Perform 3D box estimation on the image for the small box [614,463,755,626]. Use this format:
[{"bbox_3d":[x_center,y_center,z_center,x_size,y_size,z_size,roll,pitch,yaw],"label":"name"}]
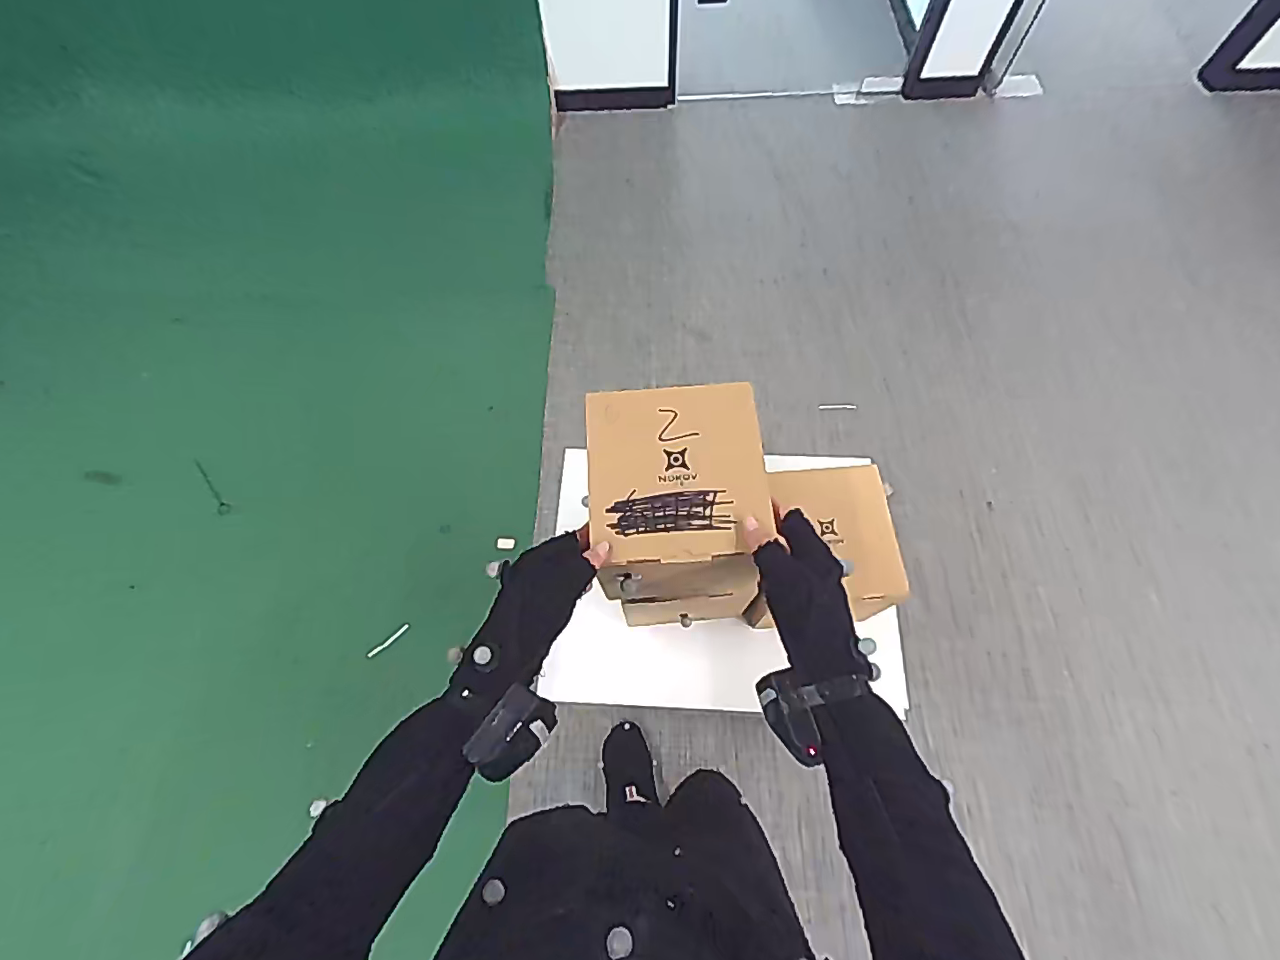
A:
[{"bbox_3d":[0.053,0.095,0.750,0.168,0.176,0.179,-5,66,0],"label":"small box"}]
